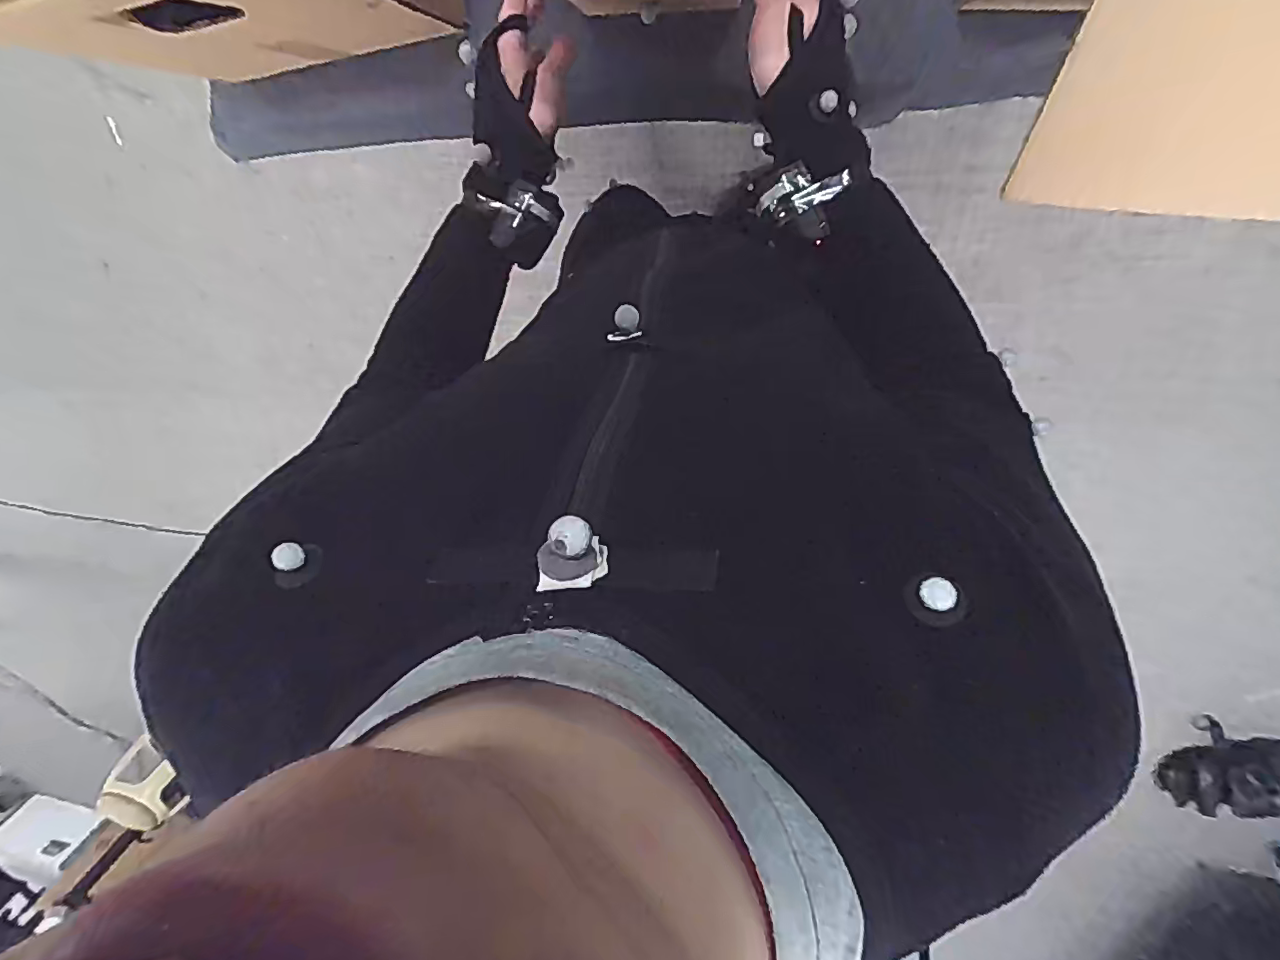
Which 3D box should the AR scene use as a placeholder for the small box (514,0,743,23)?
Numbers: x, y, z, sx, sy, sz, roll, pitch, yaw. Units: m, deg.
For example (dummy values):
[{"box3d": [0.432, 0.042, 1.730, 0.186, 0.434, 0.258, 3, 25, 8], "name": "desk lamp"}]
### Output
[{"box3d": [-0.011, -0.397, 0.322, 0.168, 0.176, 0.179, 4, 121, 7], "name": "small box"}]
